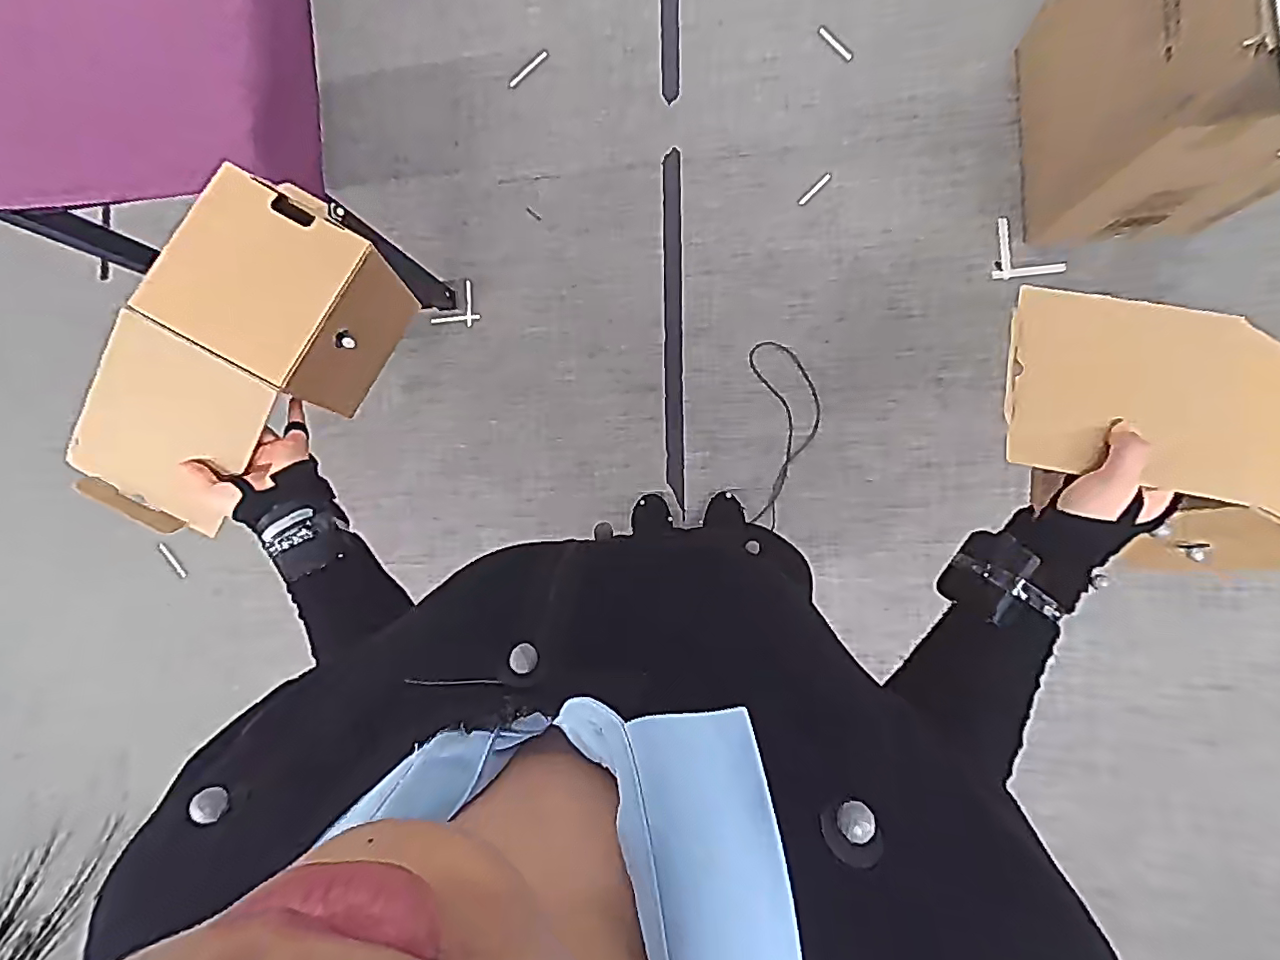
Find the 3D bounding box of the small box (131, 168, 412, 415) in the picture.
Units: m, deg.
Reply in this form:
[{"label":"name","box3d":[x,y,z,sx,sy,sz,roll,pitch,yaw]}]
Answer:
[{"label":"small box","box3d":[-0.390,-0.193,0.614,0.168,0.176,0.179,29,84,-3]}]
